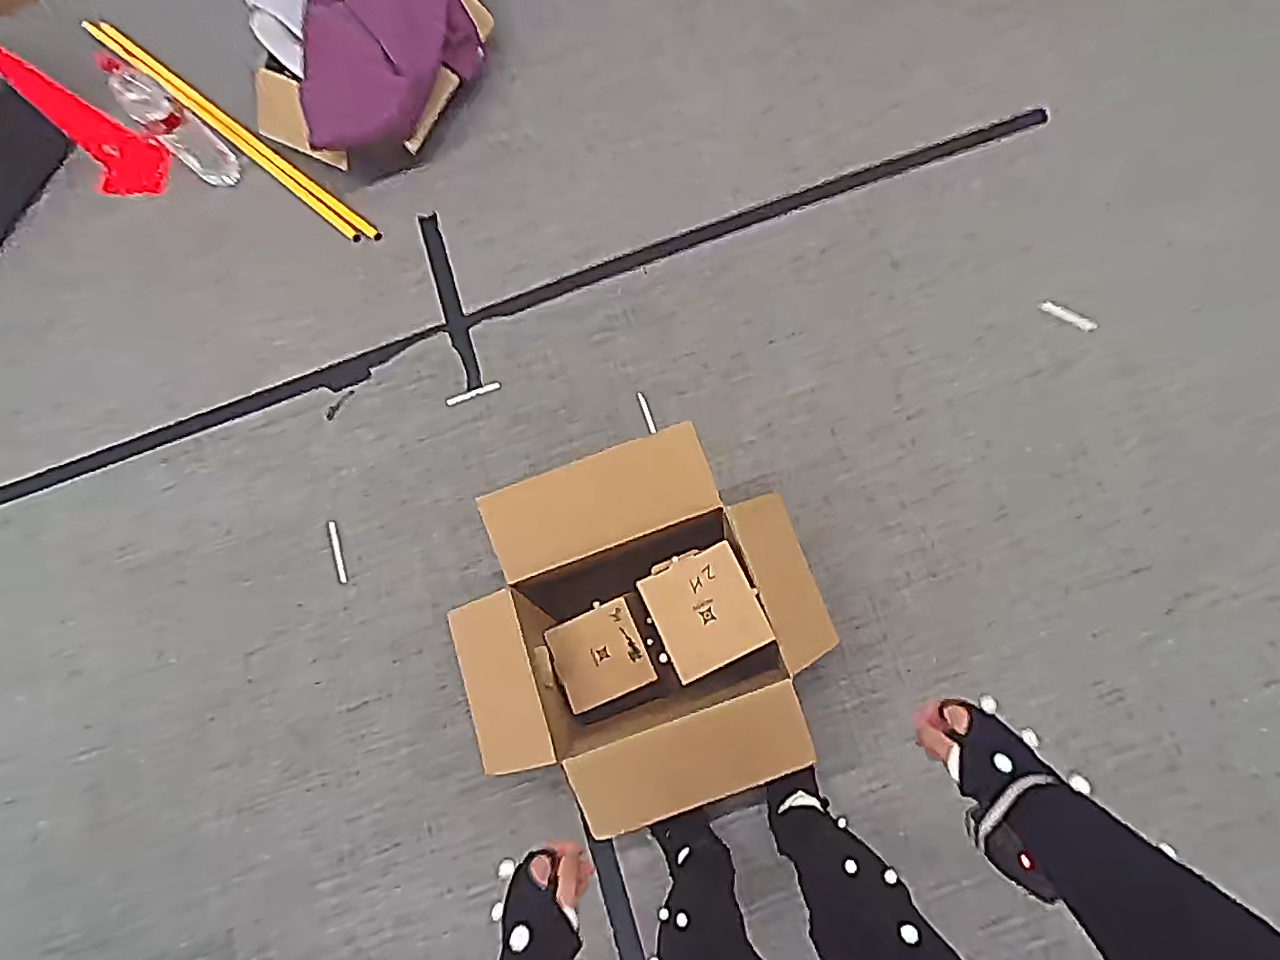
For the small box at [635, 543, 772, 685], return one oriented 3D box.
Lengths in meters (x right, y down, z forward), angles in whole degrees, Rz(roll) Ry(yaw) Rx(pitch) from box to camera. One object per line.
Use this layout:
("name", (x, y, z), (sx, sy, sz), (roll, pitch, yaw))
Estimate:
("small box", (0.103, 0.225, 0.935), (0.168, 0.176, 0.179), (-25, 78, -5))
